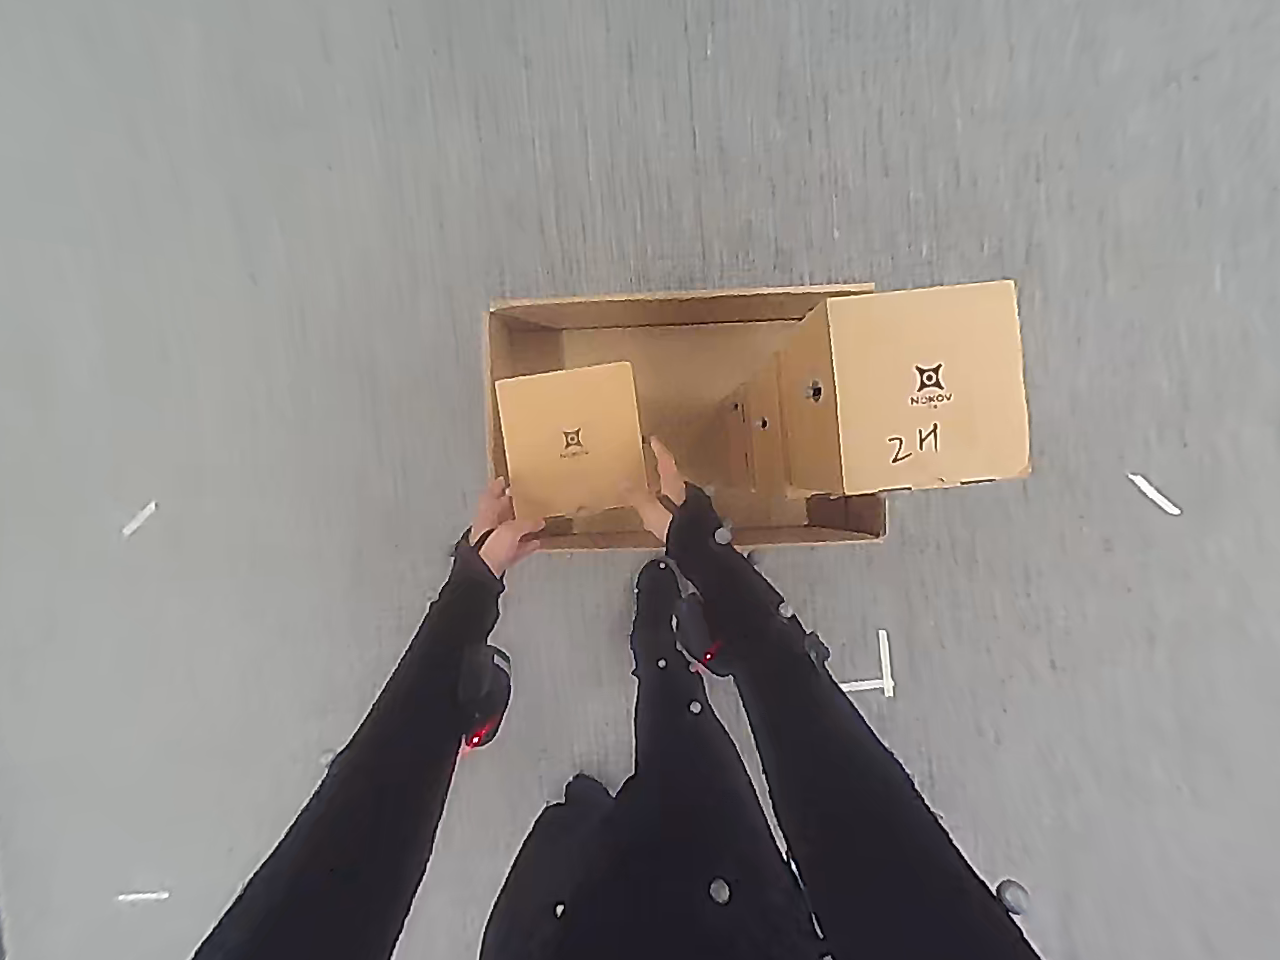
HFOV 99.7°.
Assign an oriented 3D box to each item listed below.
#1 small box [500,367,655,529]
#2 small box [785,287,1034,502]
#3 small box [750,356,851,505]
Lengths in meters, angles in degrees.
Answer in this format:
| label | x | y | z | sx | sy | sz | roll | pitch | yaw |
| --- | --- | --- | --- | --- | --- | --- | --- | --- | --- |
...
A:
| label | x | y | z | sx | sy | sz | roll | pitch | yaw |
| --- | --- | --- | --- | --- | --- | --- | --- | --- | --- |
| small box | -0.074 | -0.040 | 0.718 | 0.168 | 0.176 | 0.179 | -9 | 93 | 2 |
| small box | 0.252 | -0.075 | 0.545 | 0.168 | 0.176 | 0.179 | -6 | 92 | 1 |
| small box | 0.246 | -0.066 | 0.710 | 0.168 | 0.176 | 0.179 | -5 | 91 | 0 |
